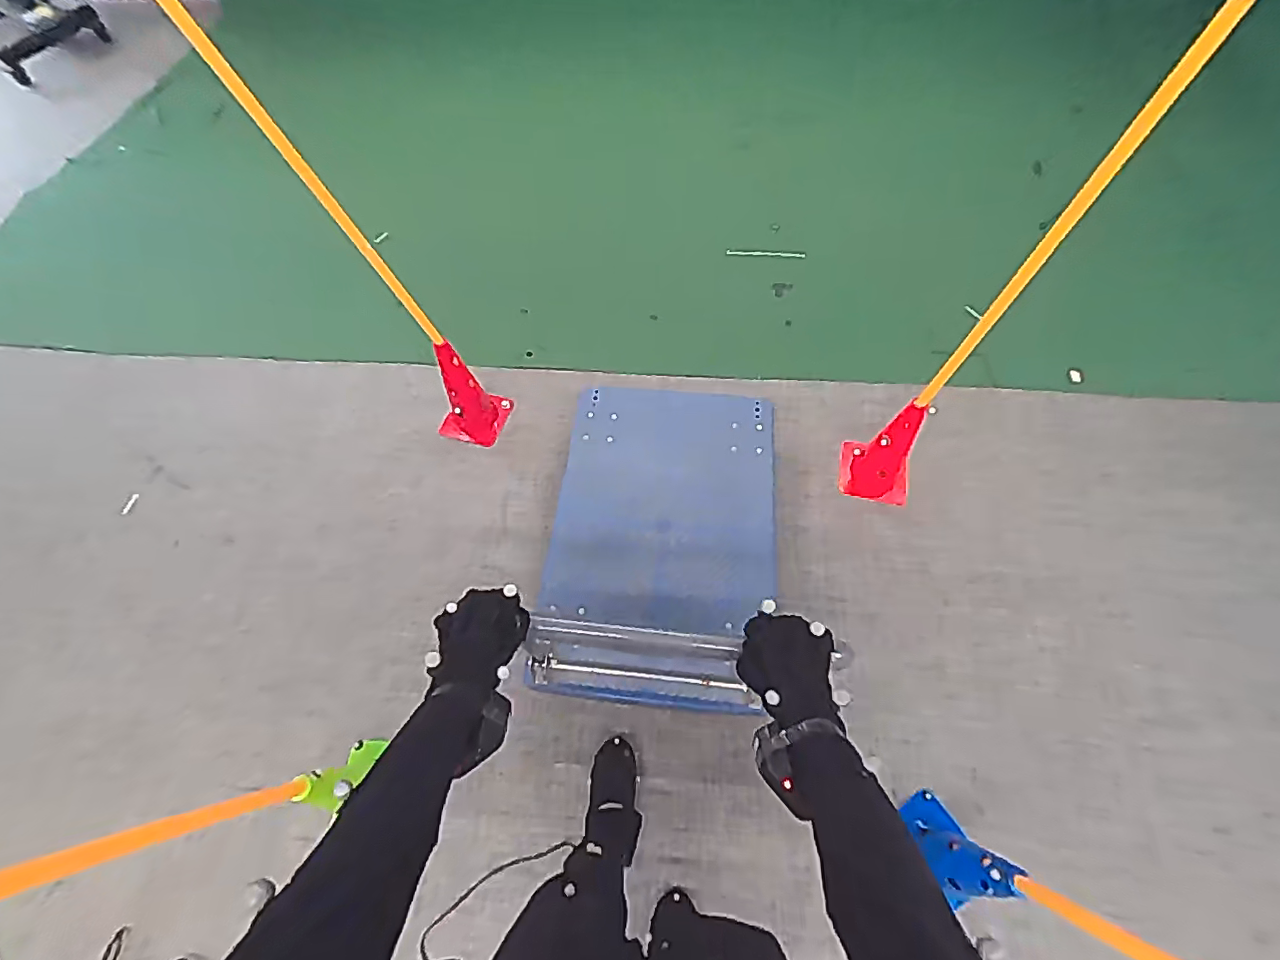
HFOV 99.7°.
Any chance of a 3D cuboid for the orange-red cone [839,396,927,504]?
[{"bbox_3d":[0.711,-0.110,1.508,0.198,0.360,0.199,13,63,10],"label":"orange-red cone"}]
